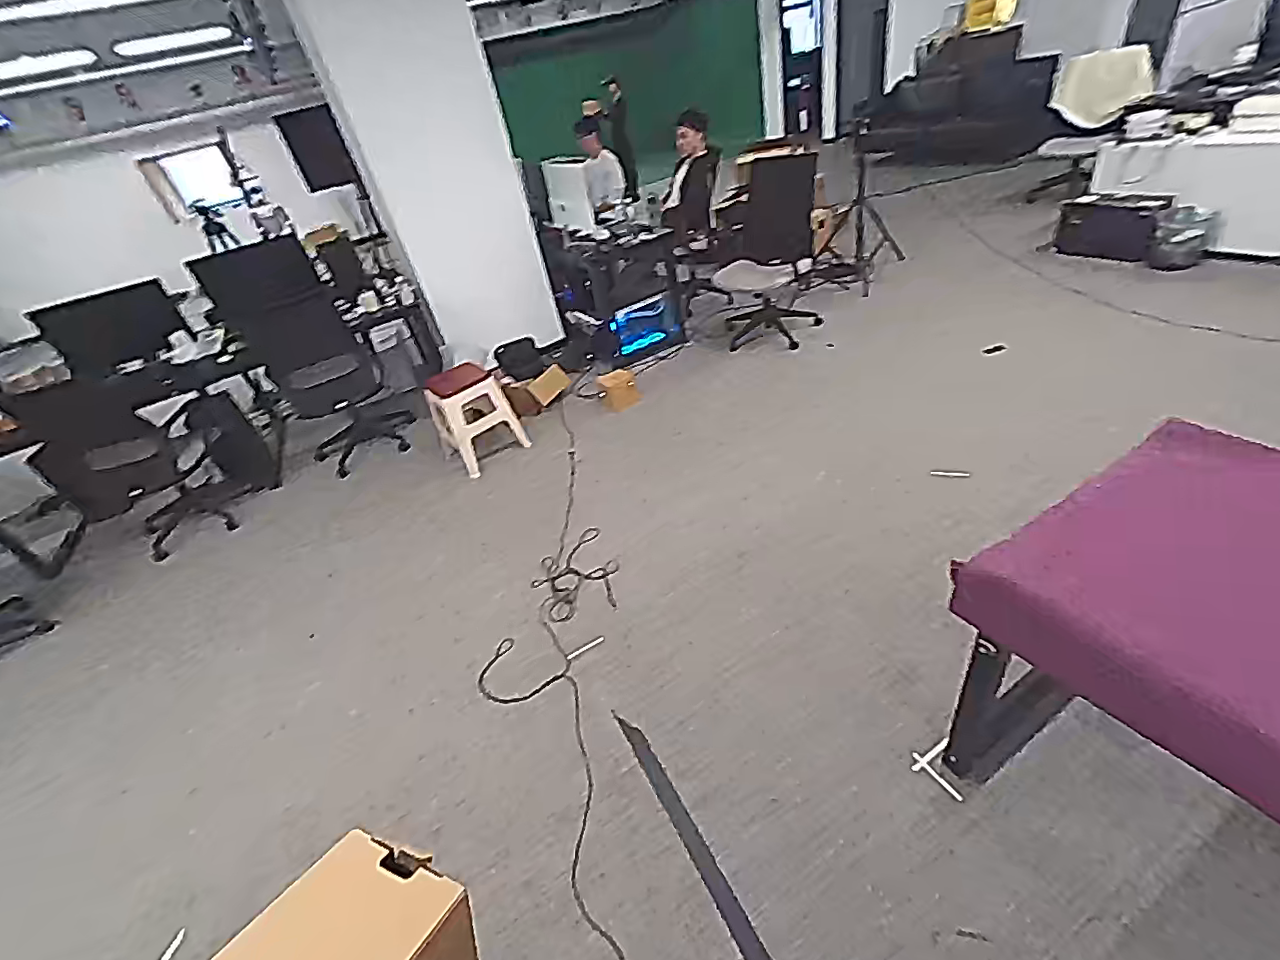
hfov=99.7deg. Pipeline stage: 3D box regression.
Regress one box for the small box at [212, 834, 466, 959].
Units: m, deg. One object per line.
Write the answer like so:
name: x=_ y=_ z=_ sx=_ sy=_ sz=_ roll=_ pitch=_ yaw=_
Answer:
small box: x=-0.280 y=0.496 z=0.510 sx=0.168 sy=0.176 sz=0.179 roll=6 pitch=17 yaw=25
